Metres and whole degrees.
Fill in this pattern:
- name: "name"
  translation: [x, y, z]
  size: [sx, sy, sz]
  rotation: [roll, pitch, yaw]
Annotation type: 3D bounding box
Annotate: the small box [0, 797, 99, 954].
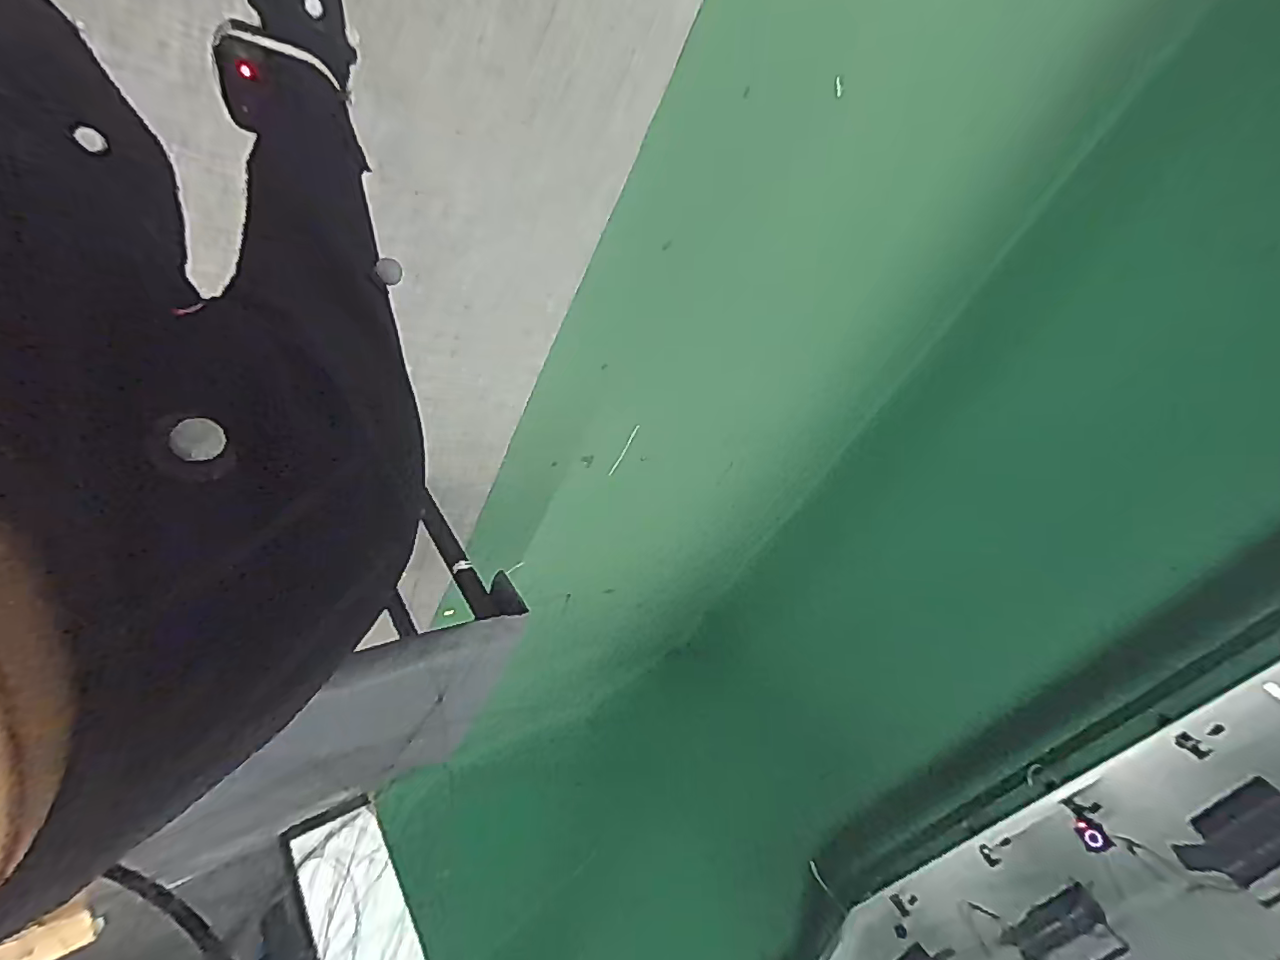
- name: "small box"
  translation: [-1.118, 0.726, 0.992]
  size: [0.168, 0.176, 0.179]
  rotation: [-7, 137, -45]
